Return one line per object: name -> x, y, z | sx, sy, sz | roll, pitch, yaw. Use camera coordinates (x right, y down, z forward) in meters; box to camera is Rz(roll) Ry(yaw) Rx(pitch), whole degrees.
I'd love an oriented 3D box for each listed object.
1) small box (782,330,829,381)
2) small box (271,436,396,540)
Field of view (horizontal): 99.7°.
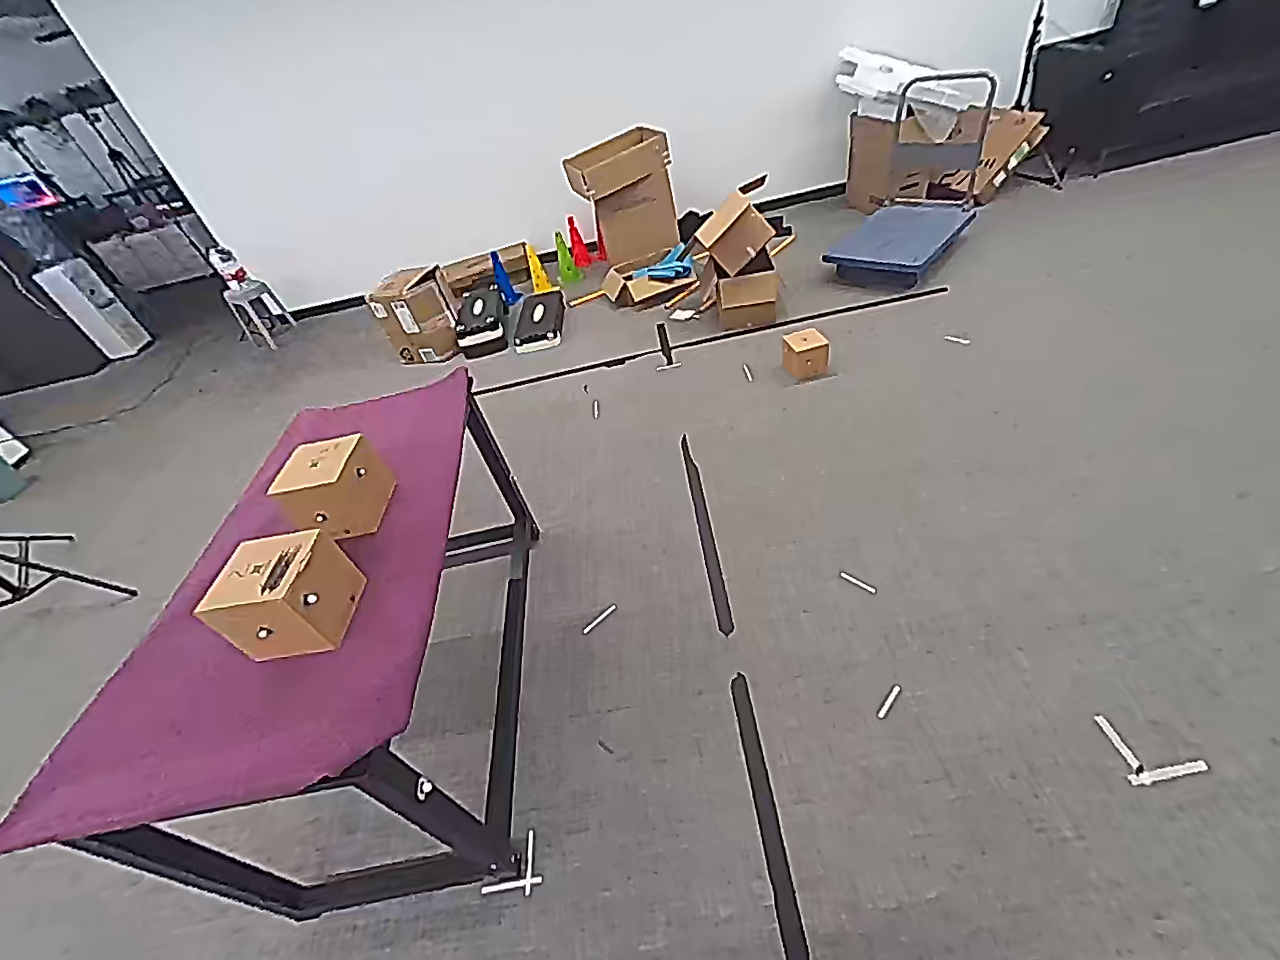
small box -> 0.812, -0.604, 2.653 | 0.168, 0.176, 0.179 | -16, 40, -2
small box -> -0.706, 0.025, 1.273 | 0.168, 0.176, 0.179 | -10, 41, 5
